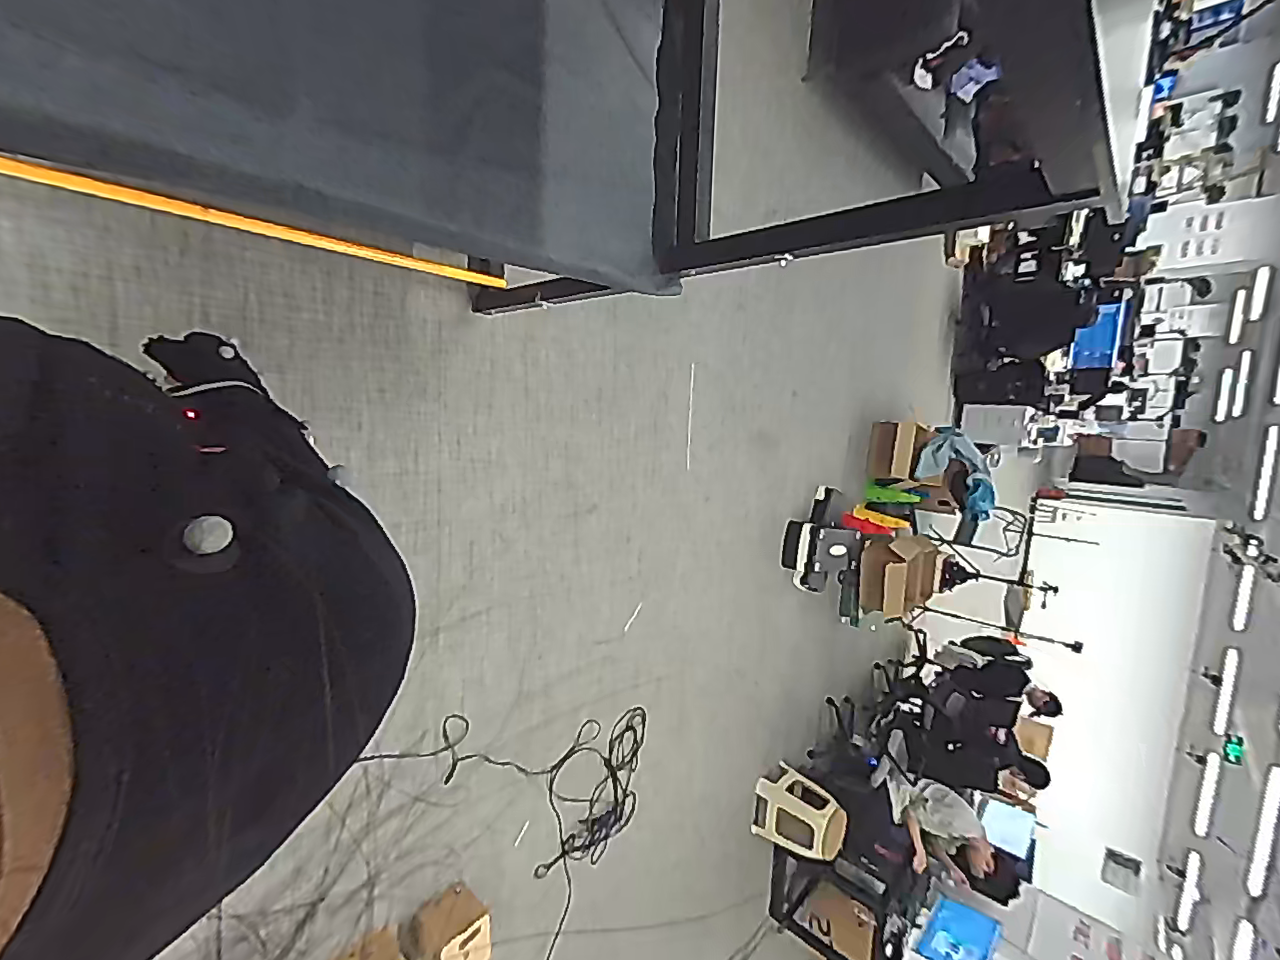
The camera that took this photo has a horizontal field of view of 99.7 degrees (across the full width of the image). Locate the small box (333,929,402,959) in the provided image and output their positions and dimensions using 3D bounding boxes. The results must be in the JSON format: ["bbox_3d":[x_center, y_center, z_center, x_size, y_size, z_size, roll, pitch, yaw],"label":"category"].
[{"bbox_3d":[-0.774,1.453,1.543,0.168,0.176,0.179,-13,105,-46],"label":"small box"}]

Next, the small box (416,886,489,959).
[{"bbox_3d":[-0.602,1.456,1.731,0.168,0.176,0.179,-9,104,-47],"label":"small box"}]
